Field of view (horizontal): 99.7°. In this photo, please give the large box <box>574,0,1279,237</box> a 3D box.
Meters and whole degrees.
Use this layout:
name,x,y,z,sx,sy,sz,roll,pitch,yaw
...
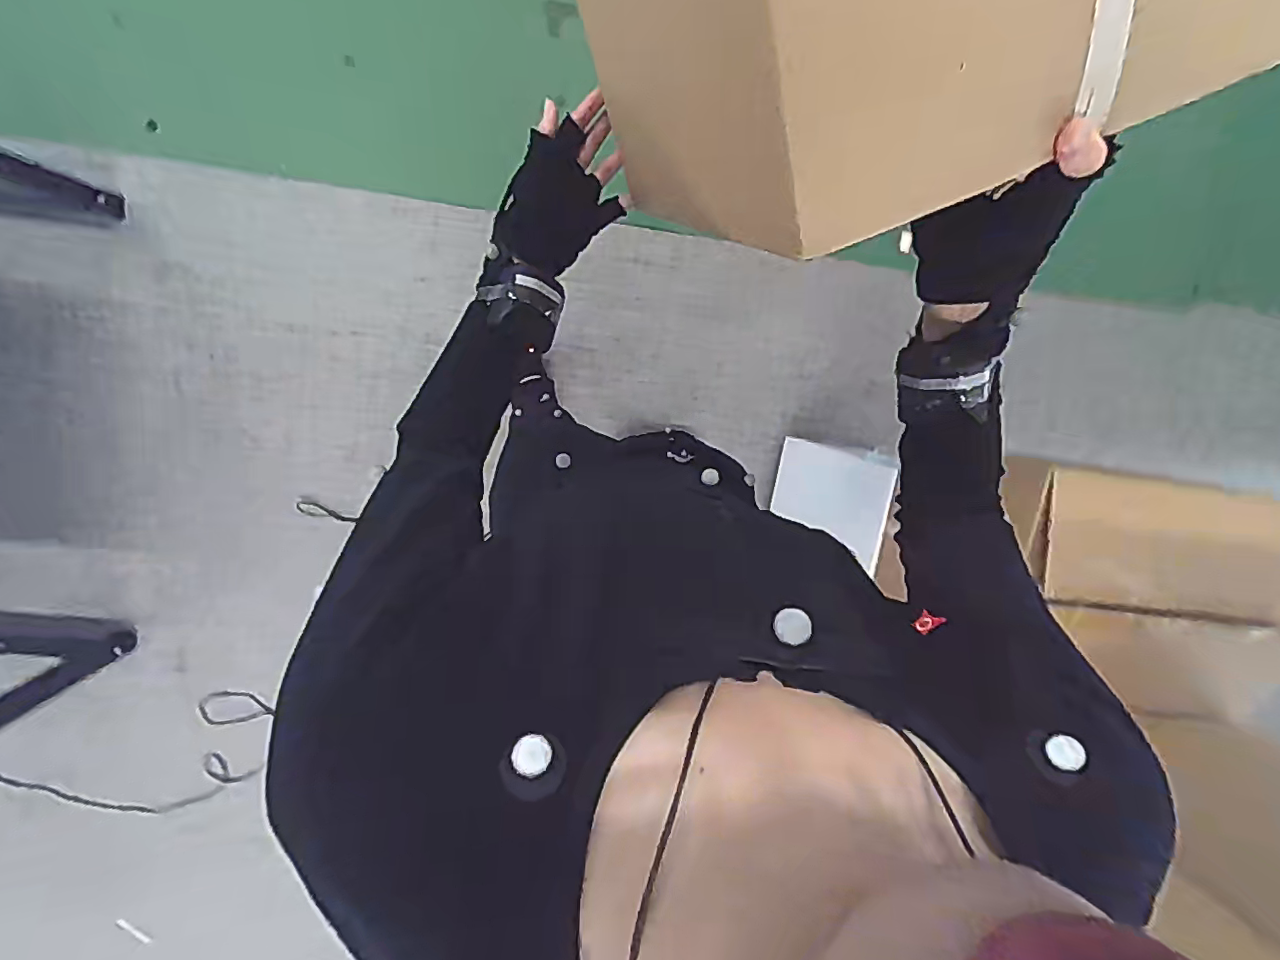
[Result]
name,x,y,z,sx,sy,sz,roll,pitch,yaw
large box,0.107,-0.402,0.294,0.320,0.320,0.408,-24,122,-4
